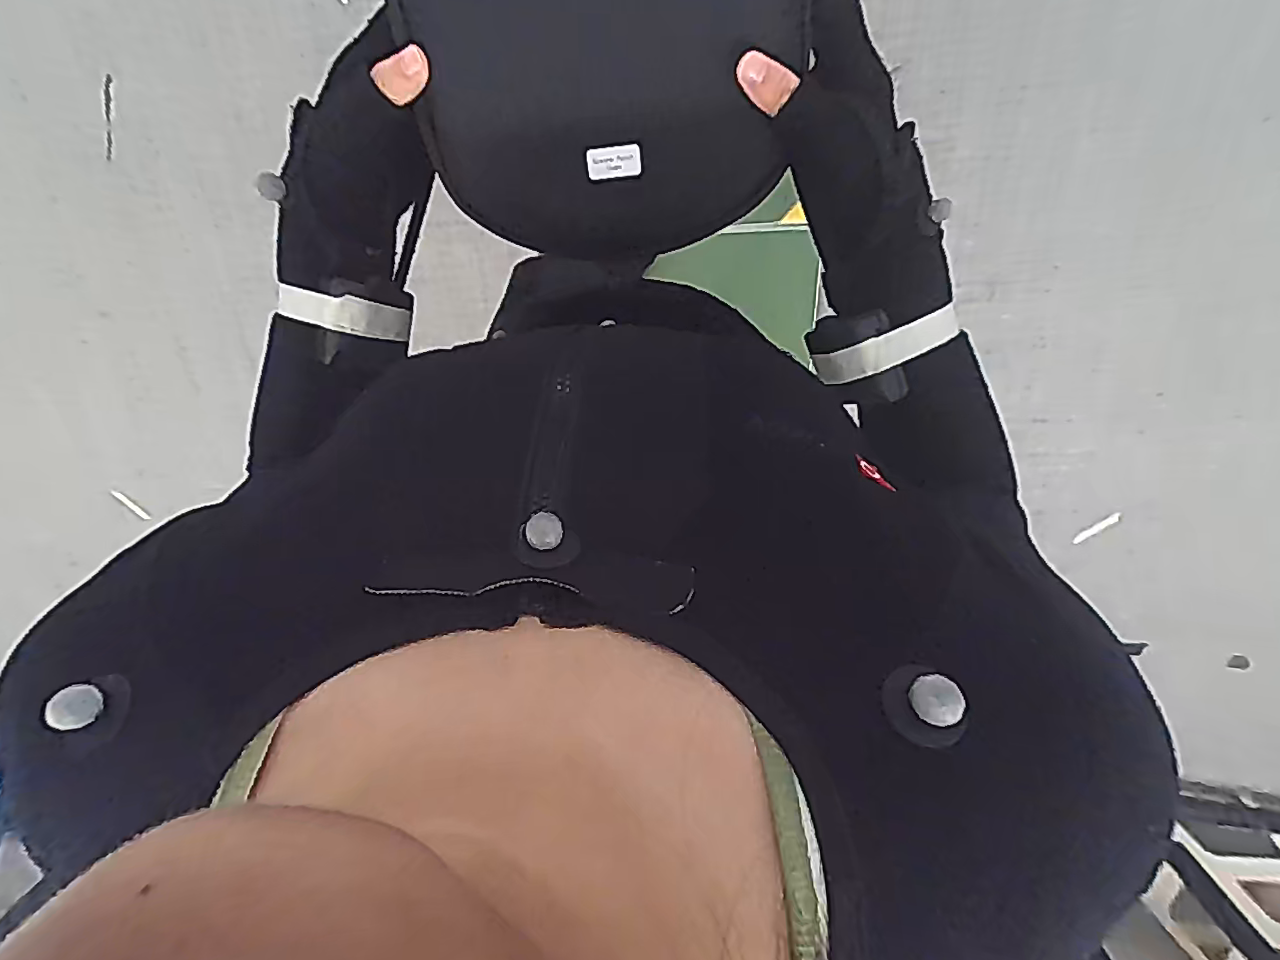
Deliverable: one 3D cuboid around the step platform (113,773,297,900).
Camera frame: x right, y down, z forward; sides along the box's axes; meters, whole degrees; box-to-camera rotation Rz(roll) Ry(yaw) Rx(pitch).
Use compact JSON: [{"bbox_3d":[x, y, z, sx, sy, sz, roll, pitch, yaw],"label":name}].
[{"bbox_3d":[-1.760,1.446,2.184,0.684,0.204,0.286,-28,108,14],"label":"step platform"}]
